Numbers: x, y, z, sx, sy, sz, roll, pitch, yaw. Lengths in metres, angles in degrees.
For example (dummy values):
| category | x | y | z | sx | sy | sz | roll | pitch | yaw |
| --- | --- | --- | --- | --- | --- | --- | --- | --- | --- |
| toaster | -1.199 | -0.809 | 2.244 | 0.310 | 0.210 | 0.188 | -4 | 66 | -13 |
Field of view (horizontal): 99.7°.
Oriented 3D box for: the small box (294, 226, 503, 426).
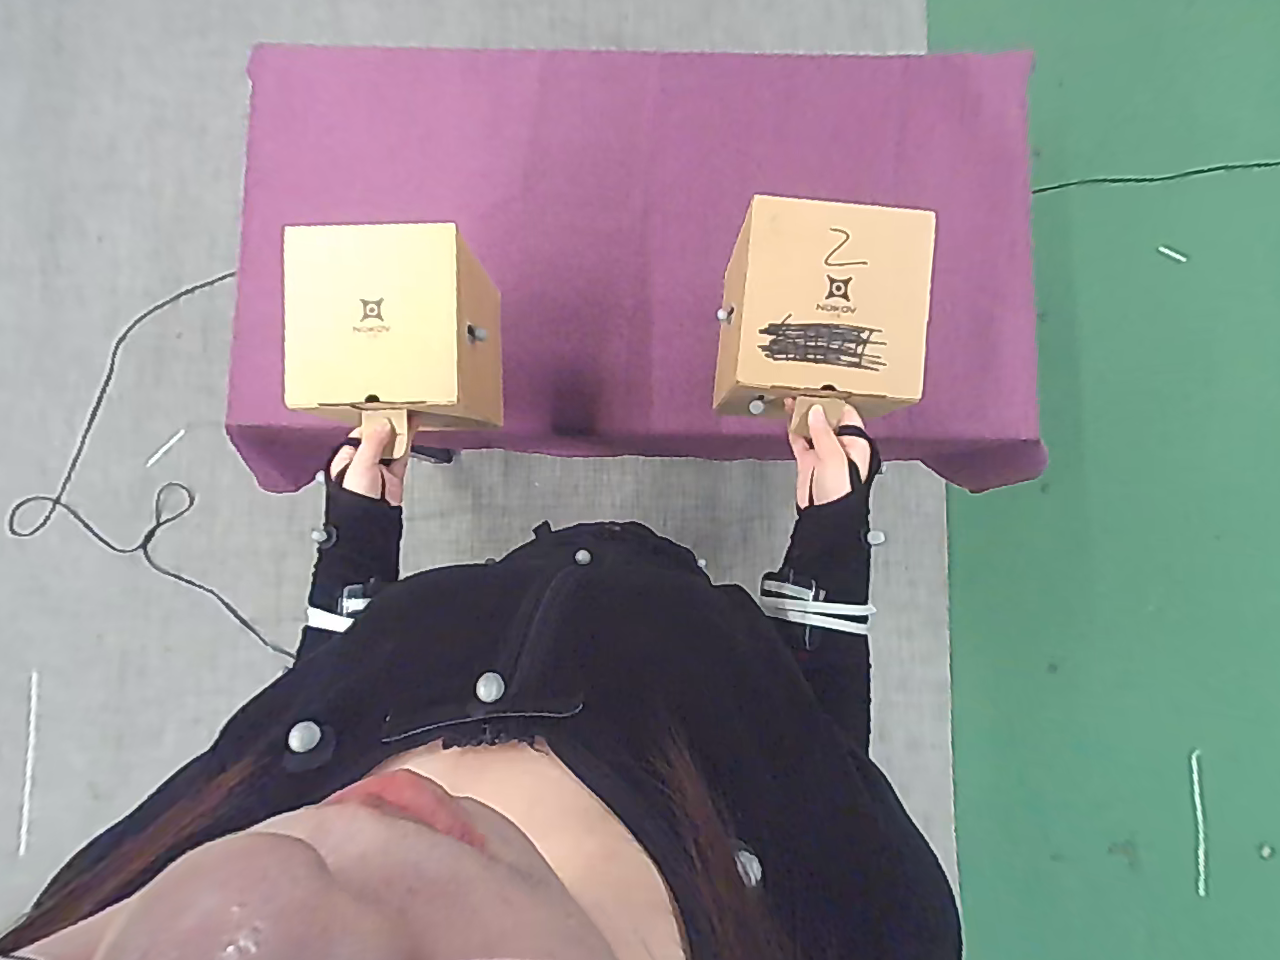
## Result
| category | x | y | z | sx | sy | sz | roll | pitch | yaw |
| --- | --- | --- | --- | --- | --- | --- | --- | --- | --- |
| small box | -0.257 | -0.160 | 0.609 | 0.168 | 0.176 | 0.179 | -1 | 89 | 0 |
